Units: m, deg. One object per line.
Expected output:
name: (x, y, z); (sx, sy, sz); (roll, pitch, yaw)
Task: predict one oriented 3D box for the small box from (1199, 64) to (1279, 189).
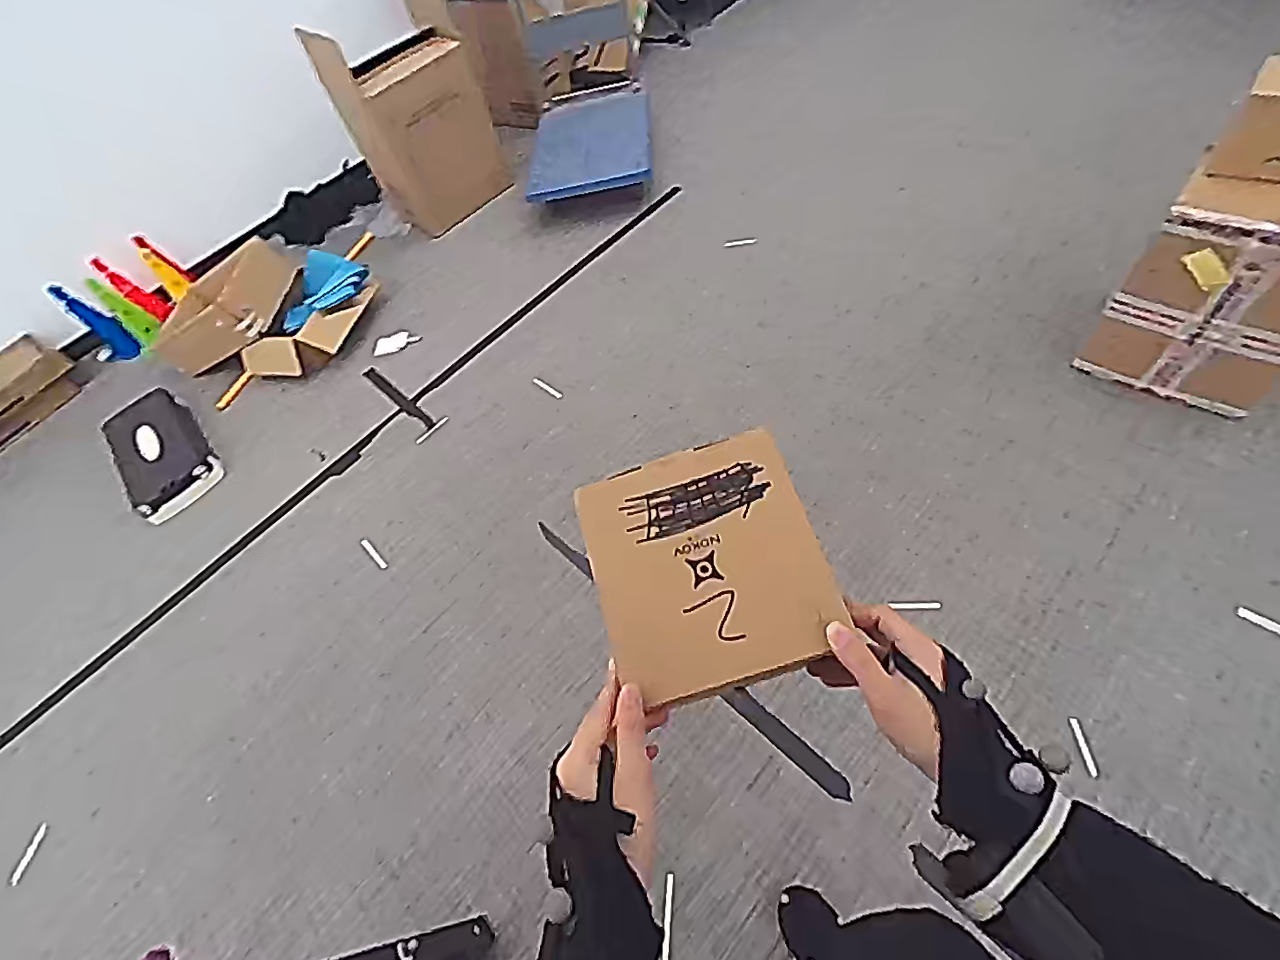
small box: (1.366, -0.752, 1.147); (0.179, 0.176, 0.168); (30, 69, 31)
